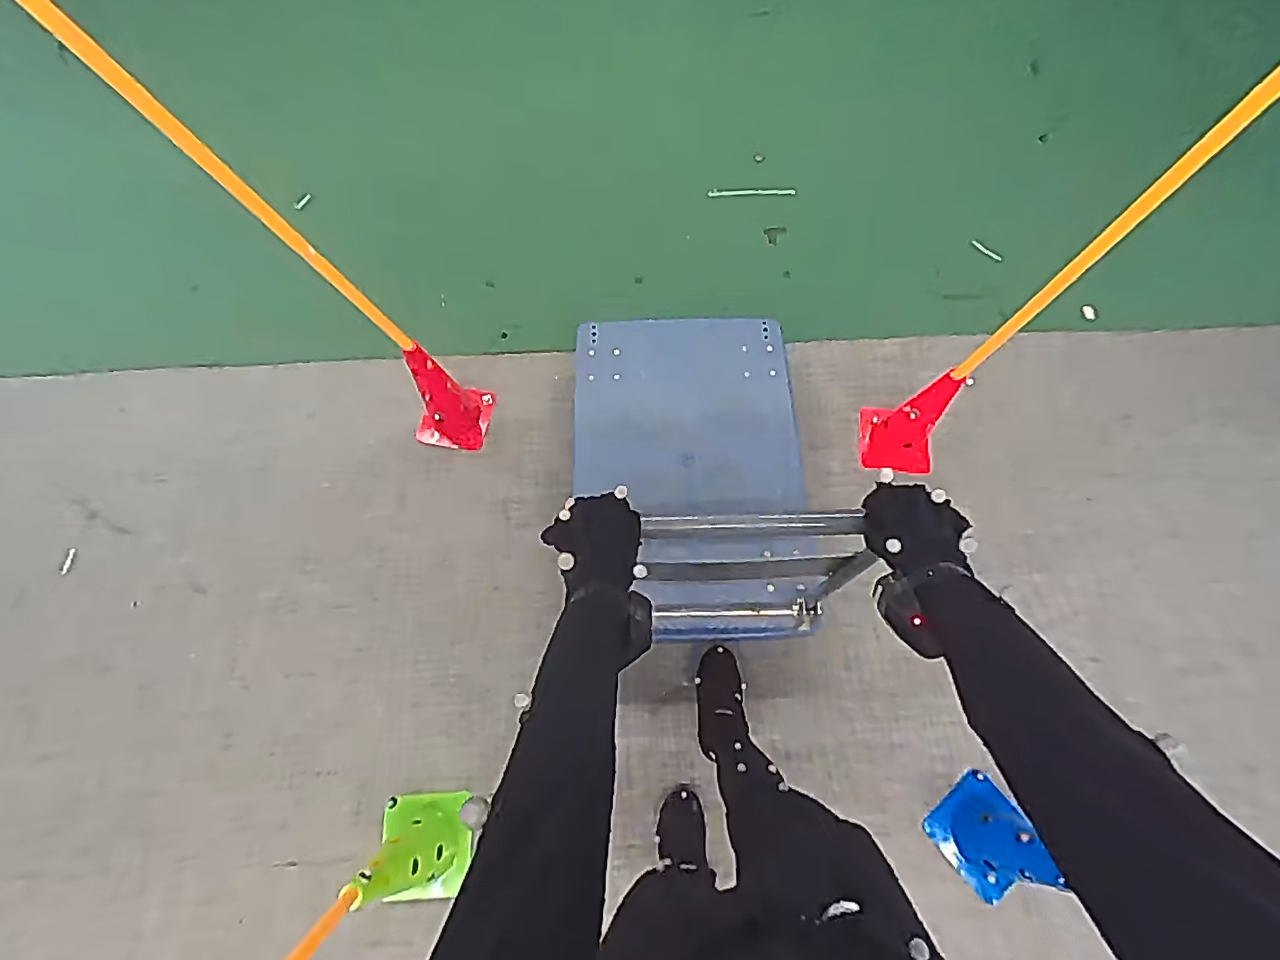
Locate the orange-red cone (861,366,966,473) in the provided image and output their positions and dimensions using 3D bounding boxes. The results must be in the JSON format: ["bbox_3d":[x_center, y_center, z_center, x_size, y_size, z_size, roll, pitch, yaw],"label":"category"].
[{"bbox_3d":[0.738,-0.181,1.406,0.198,0.360,0.199,8,70,5],"label":"orange-red cone"}]
